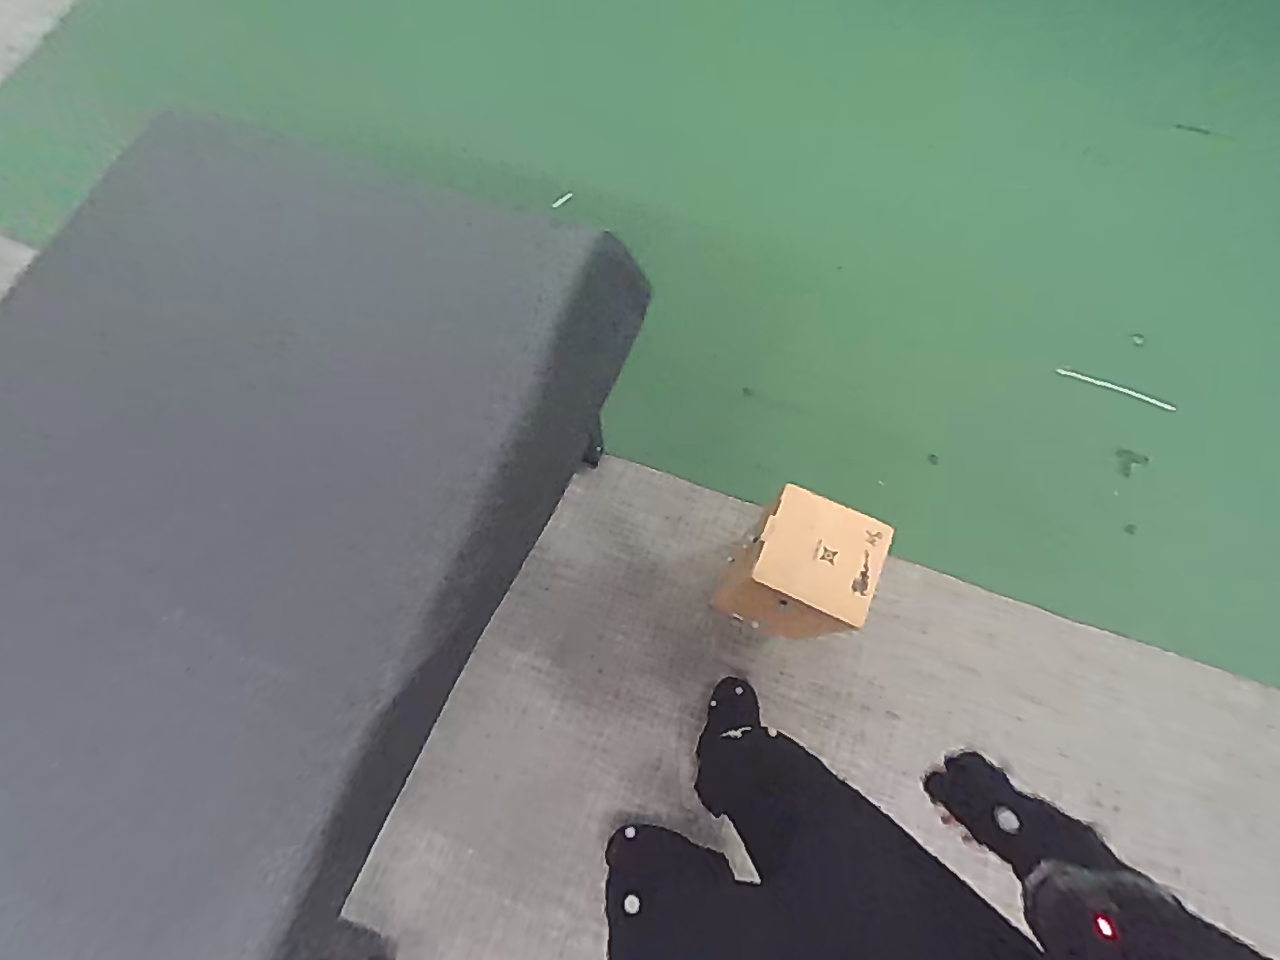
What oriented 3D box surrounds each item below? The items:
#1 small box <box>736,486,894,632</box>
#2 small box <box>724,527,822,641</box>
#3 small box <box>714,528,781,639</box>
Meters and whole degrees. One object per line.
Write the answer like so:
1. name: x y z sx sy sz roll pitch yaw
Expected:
1. small box: 0.272 0.138 0.880 0.179 0.176 0.168 25 73 8
2. small box: 0.273 0.191 1.034 0.168 0.176 0.179 26 74 8
3. small box: 0.276 0.233 1.194 0.168 0.176 0.179 27 74 8
